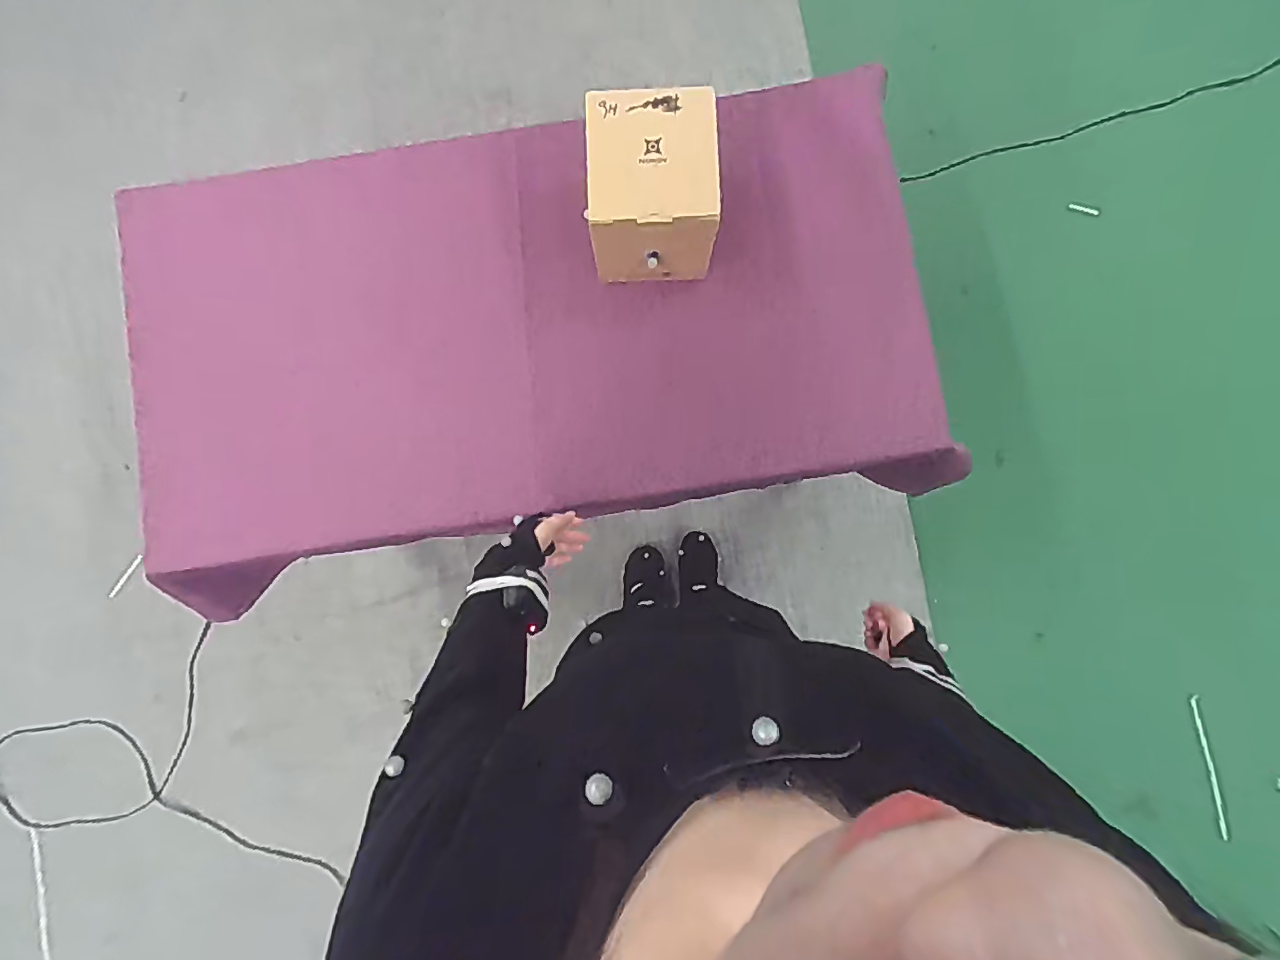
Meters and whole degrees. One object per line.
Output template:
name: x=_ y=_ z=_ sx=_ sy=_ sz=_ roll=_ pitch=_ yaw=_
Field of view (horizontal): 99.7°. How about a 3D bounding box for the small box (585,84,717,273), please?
small box: x=0.016 y=-0.401 z=0.751 sx=0.168 sy=0.176 sz=0.179 roll=-1 pitch=86 yaw=1
